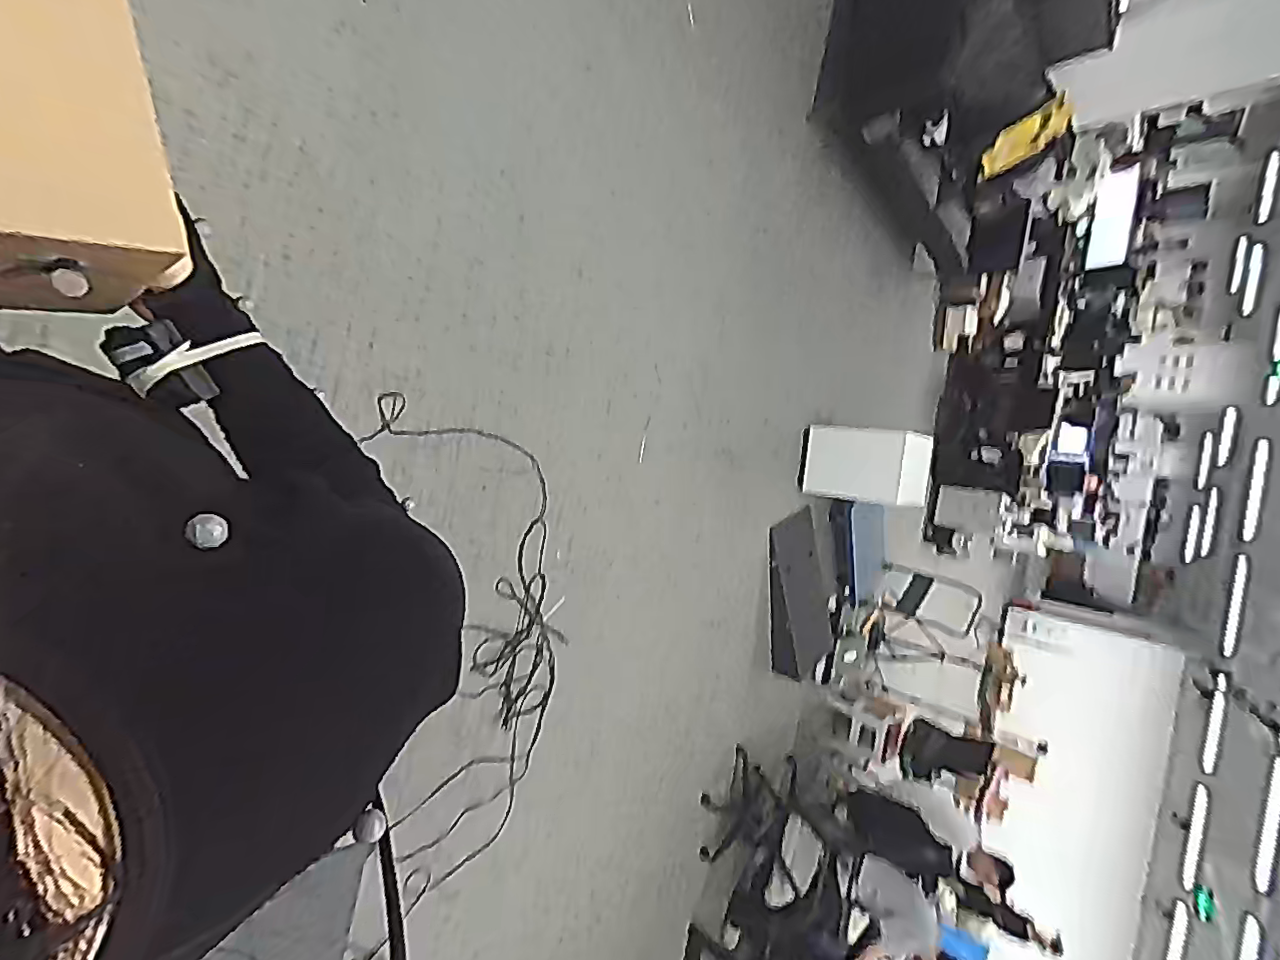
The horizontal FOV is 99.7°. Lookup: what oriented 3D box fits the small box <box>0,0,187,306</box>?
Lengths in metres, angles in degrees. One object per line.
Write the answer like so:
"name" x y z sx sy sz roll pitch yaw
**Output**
"small box" -0.382 -0.193 0.273 0.179 0.176 0.168 -17 102 -57
